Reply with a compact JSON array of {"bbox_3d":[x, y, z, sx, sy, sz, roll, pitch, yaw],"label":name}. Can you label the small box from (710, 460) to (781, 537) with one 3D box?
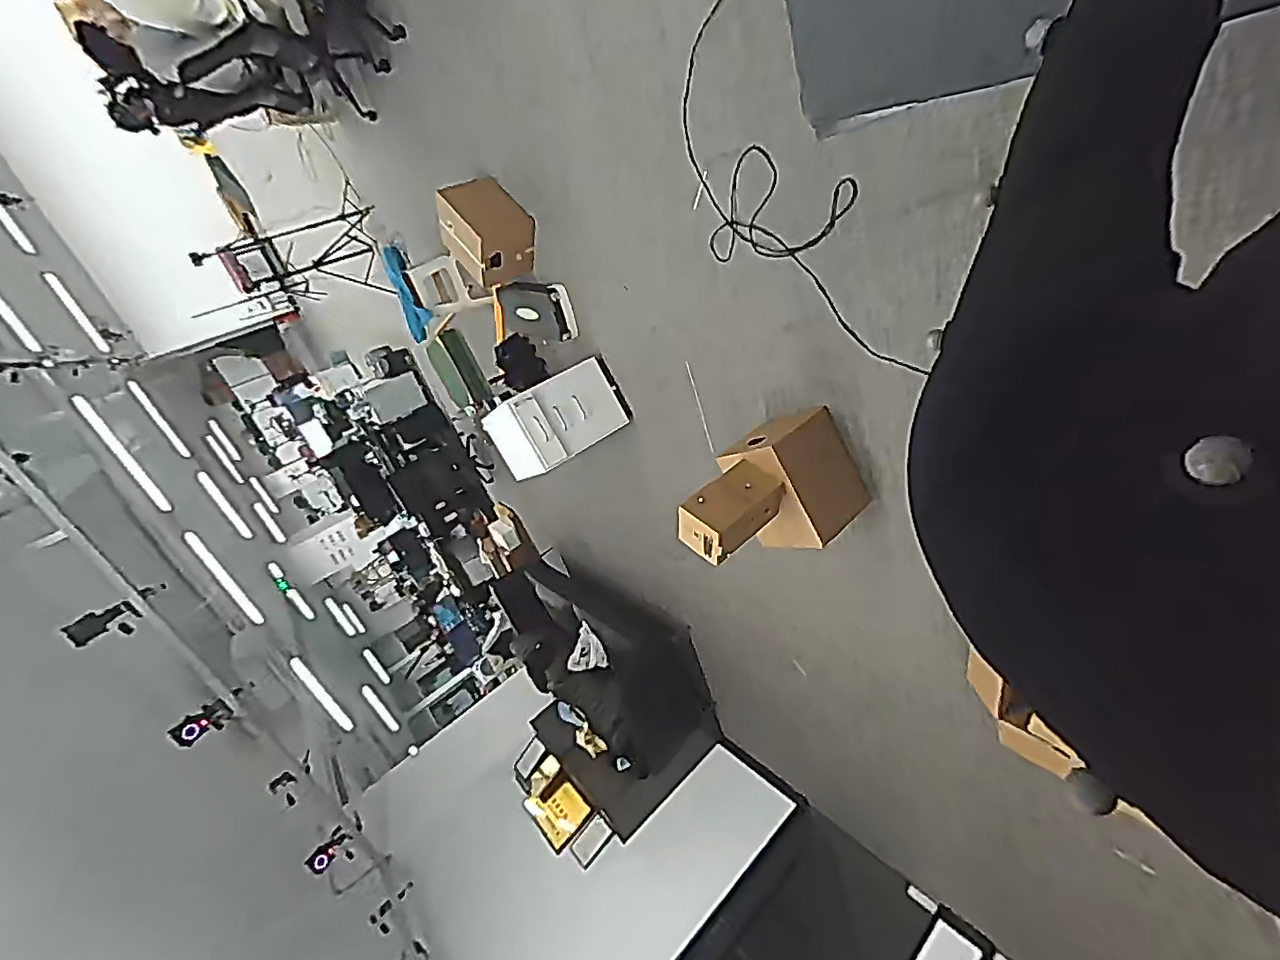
[{"bbox_3d":[0.365,0.057,1.873,0.179,0.176,0.168,34,145,33],"label":"small box"}]
